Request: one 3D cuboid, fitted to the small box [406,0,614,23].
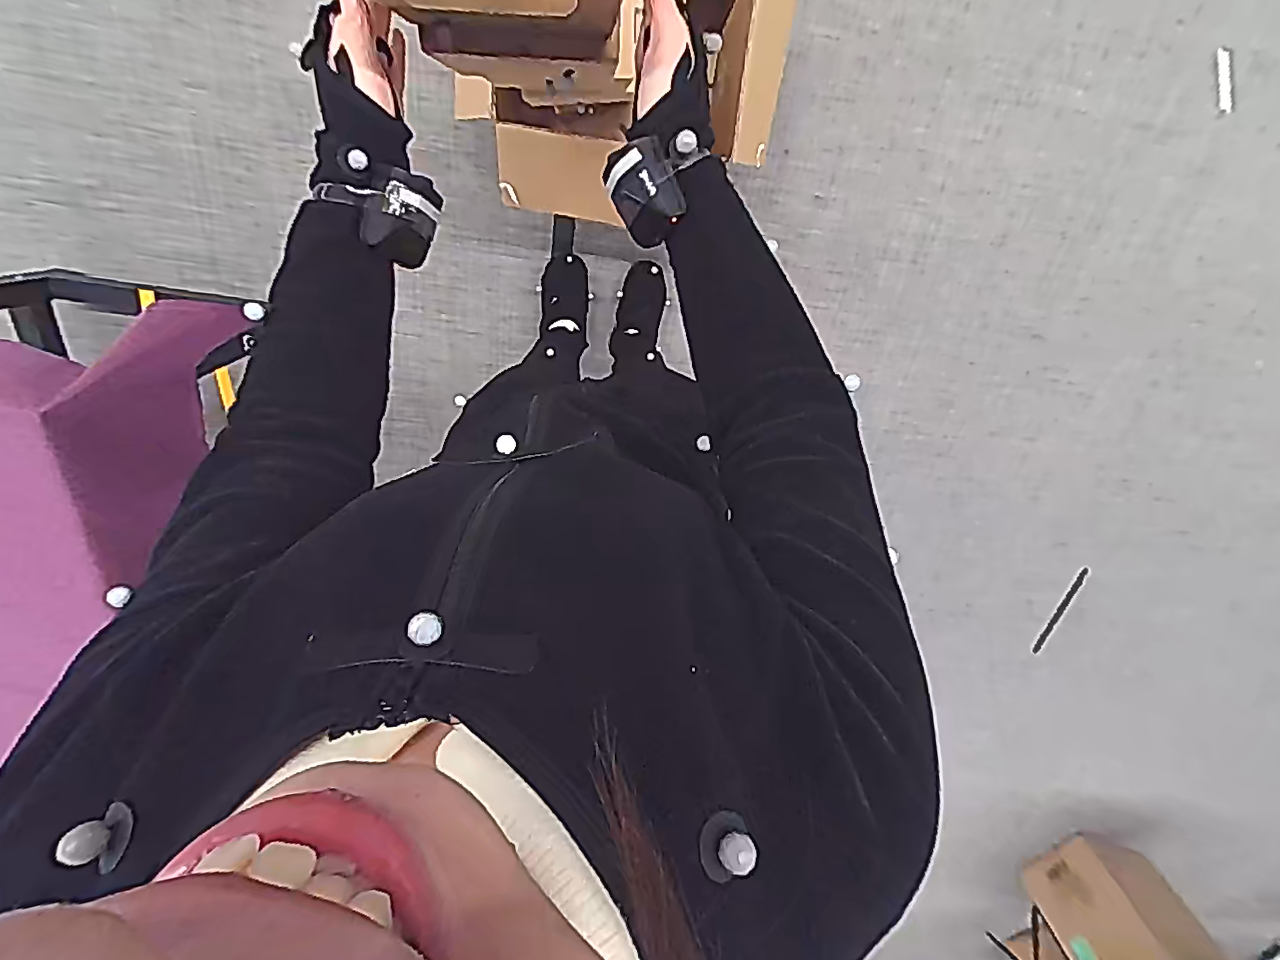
[{"bbox_3d":[-0.093,-0.399,0.322,0.168,0.176,0.179,-2,122,-6],"label":"small box"}]

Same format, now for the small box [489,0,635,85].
[{"bbox_3d":[-0.097,-0.556,0.610,0.179,0.176,0.168,-1,123,-5],"label":"small box"}]

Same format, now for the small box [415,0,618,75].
[{"bbox_3d":[-0.101,-0.470,0.471,0.168,0.176,0.179,-1,122,-6],"label":"small box"}]

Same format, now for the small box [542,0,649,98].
[{"bbox_3d":[-0.092,-0.745,0.881,0.179,0.176,0.168,-14,122,2],"label":"small box"}]
